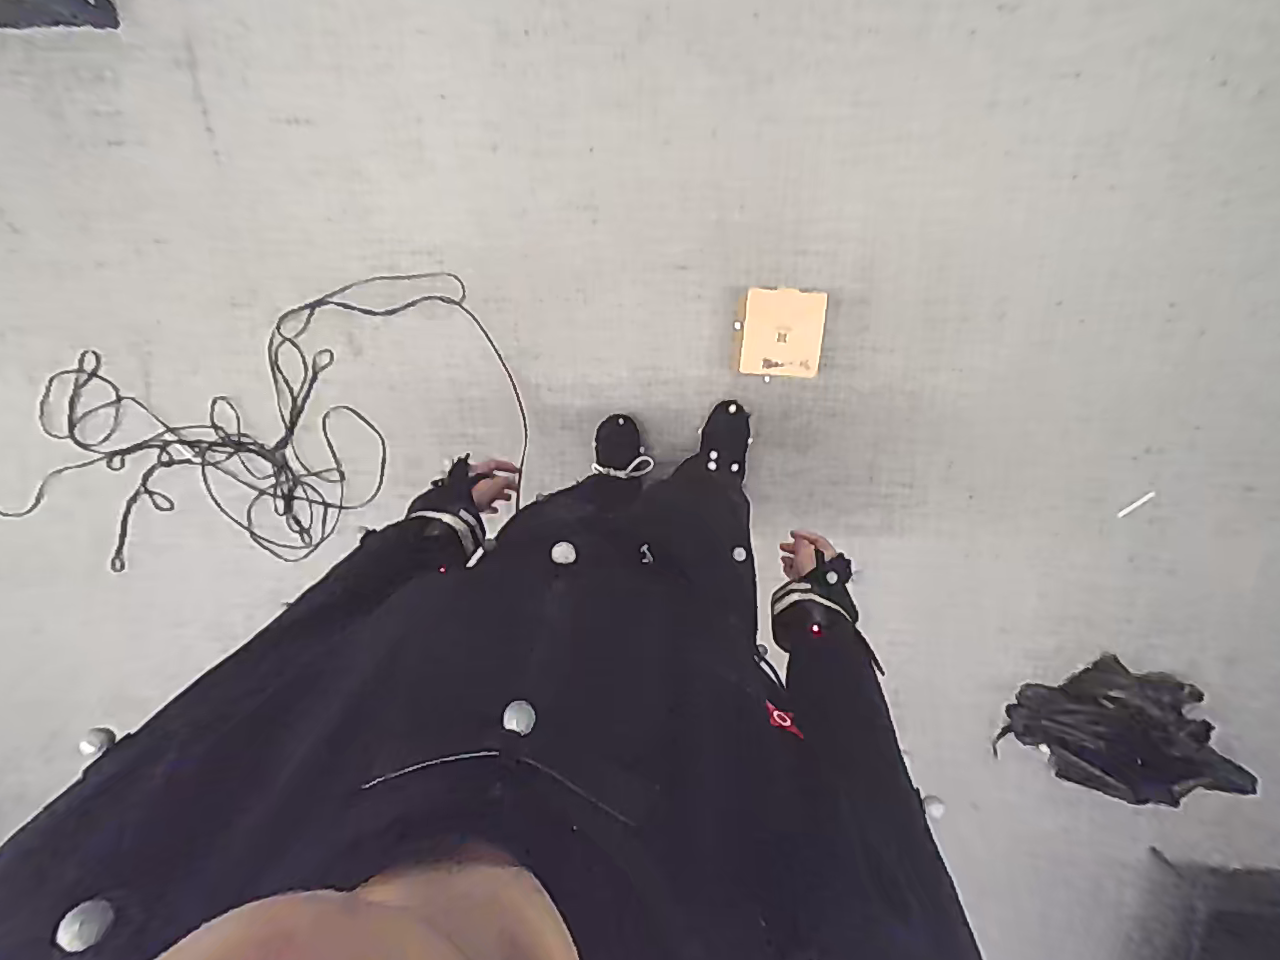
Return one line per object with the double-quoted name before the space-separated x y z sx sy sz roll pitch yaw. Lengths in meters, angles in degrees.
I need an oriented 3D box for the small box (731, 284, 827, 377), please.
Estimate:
"small box" 0.299 -0.326 1.203 0.168 0.176 0.179 5 101 2
